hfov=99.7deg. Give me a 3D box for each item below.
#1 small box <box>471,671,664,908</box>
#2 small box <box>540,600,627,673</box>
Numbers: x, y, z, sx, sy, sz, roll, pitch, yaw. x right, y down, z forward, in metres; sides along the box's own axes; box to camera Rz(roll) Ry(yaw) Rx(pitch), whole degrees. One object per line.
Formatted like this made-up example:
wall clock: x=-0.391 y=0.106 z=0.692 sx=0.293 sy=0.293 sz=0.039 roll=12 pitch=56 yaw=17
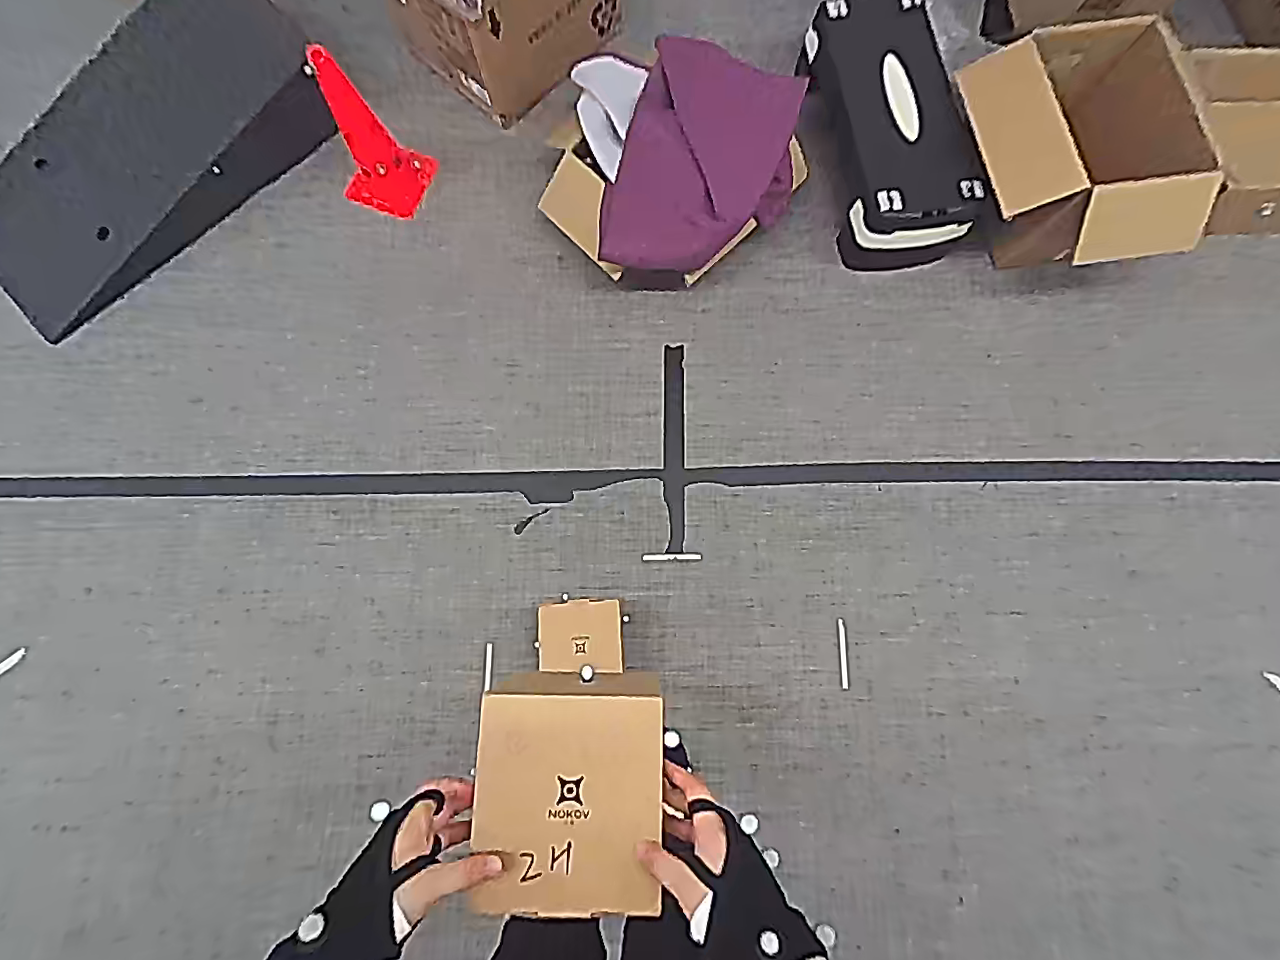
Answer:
small box: x=-0.062 y=0.295 z=0.555 sx=0.168 sy=0.176 sz=0.179 roll=0 pitch=78 yaw=0
small box: x=-0.115 y=0.348 z=1.141 sx=0.168 sy=0.176 sz=0.179 roll=-4 pitch=79 yaw=0
